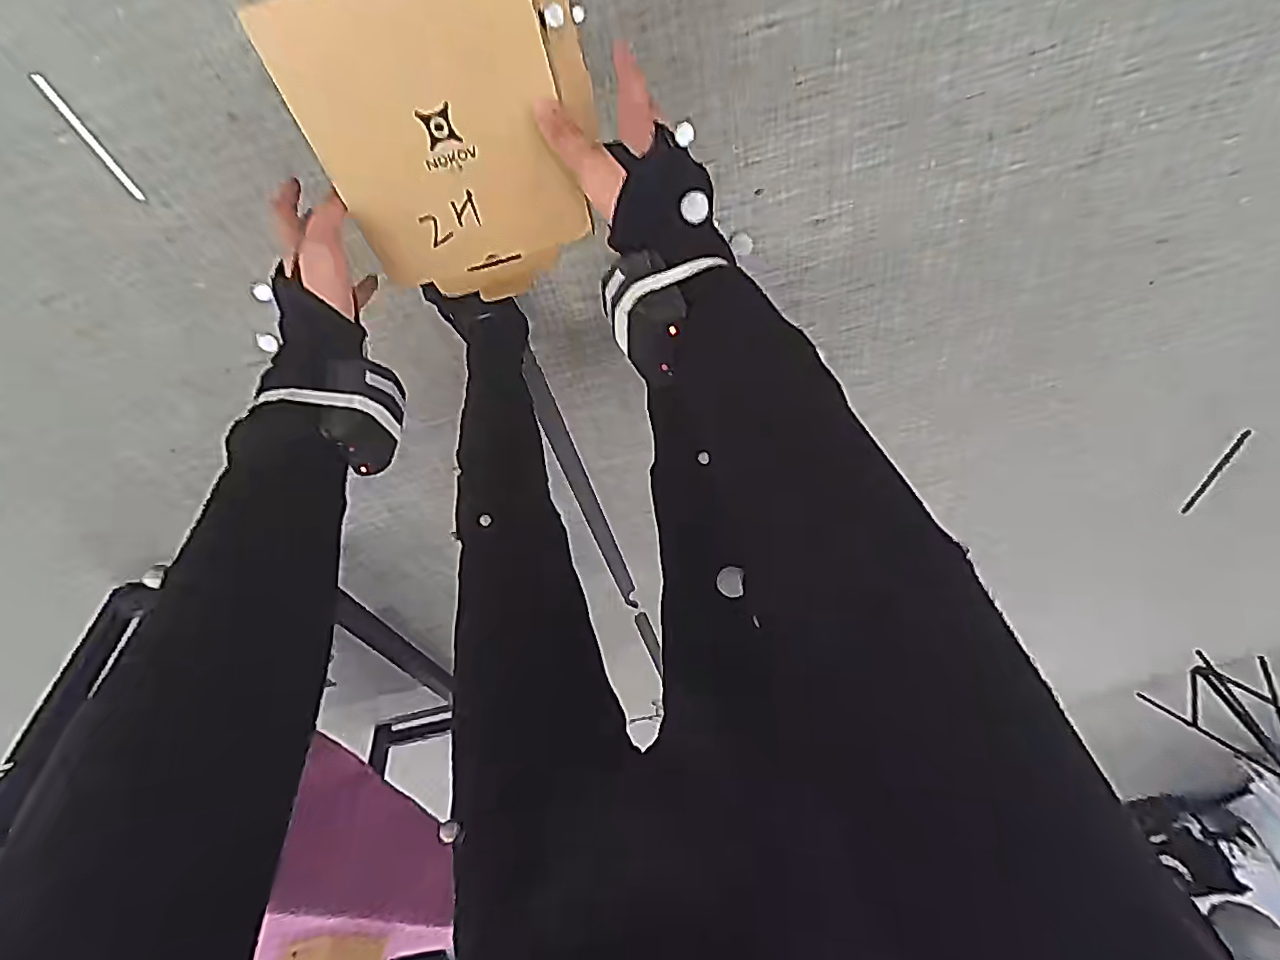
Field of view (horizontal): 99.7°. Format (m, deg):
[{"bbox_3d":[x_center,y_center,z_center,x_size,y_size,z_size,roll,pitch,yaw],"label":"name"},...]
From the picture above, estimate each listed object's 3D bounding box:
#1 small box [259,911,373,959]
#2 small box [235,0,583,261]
[{"bbox_3d":[-0.759,1.123,1.262,0.168,0.176,0.179,-21,137,12],"label":"small box"},{"bbox_3d":[-0.148,-0.299,0.402,0.168,0.176,0.179,-13,138,2],"label":"small box"}]
